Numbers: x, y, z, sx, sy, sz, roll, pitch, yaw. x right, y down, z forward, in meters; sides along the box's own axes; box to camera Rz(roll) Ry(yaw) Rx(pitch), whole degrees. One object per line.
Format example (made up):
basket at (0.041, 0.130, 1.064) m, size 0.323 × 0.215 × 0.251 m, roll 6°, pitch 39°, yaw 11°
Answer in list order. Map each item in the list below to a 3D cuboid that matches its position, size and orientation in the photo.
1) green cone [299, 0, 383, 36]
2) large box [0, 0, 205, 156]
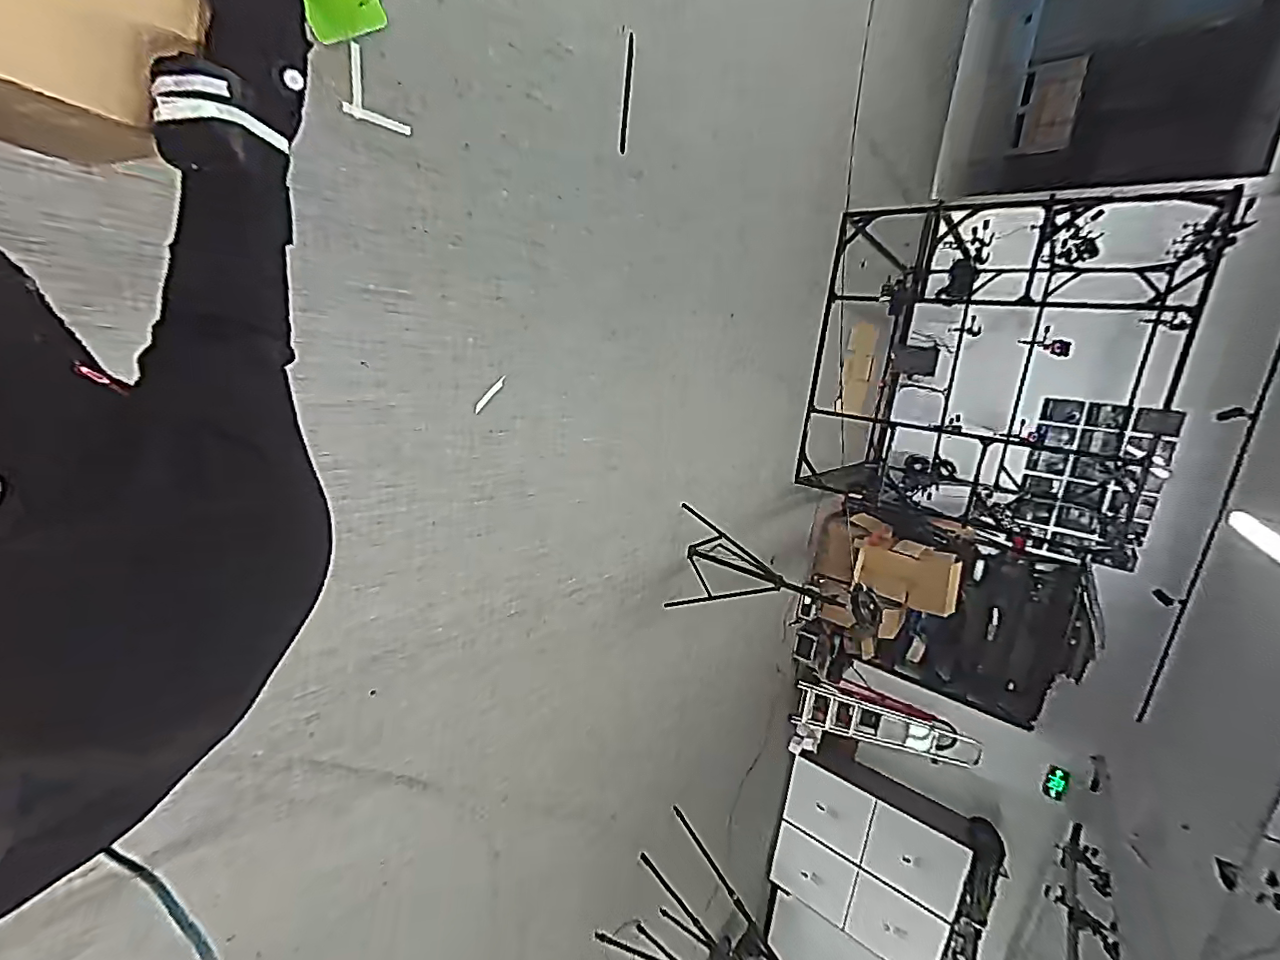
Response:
green cone at (-0.562, -1.095, 1.114) m, size 0.202 × 0.368 × 0.200 m, roll -52°, pitch 141°, yaw -30°
large box at (-0.537, -0.431, 0.293) m, size 0.408 × 0.320 × 0.320 m, roll -6°, pitch 110°, yaw -57°
